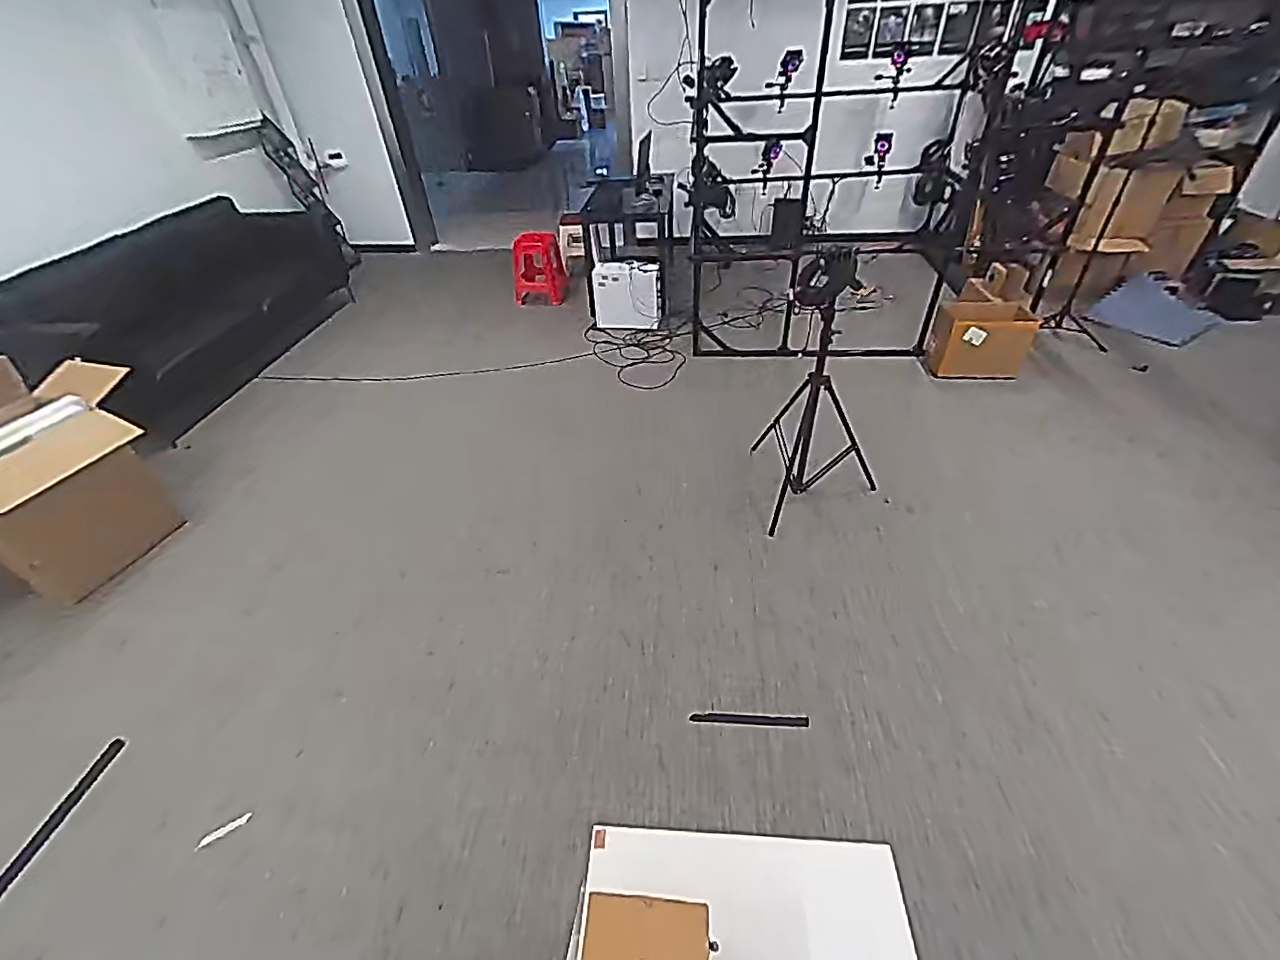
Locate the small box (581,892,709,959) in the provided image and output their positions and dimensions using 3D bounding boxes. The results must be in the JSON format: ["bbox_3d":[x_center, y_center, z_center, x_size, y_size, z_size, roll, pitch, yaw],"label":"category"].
[{"bbox_3d":[0.008,0.689,0.725,0.168,0.176,0.179,2,40,6],"label":"small box"}]
